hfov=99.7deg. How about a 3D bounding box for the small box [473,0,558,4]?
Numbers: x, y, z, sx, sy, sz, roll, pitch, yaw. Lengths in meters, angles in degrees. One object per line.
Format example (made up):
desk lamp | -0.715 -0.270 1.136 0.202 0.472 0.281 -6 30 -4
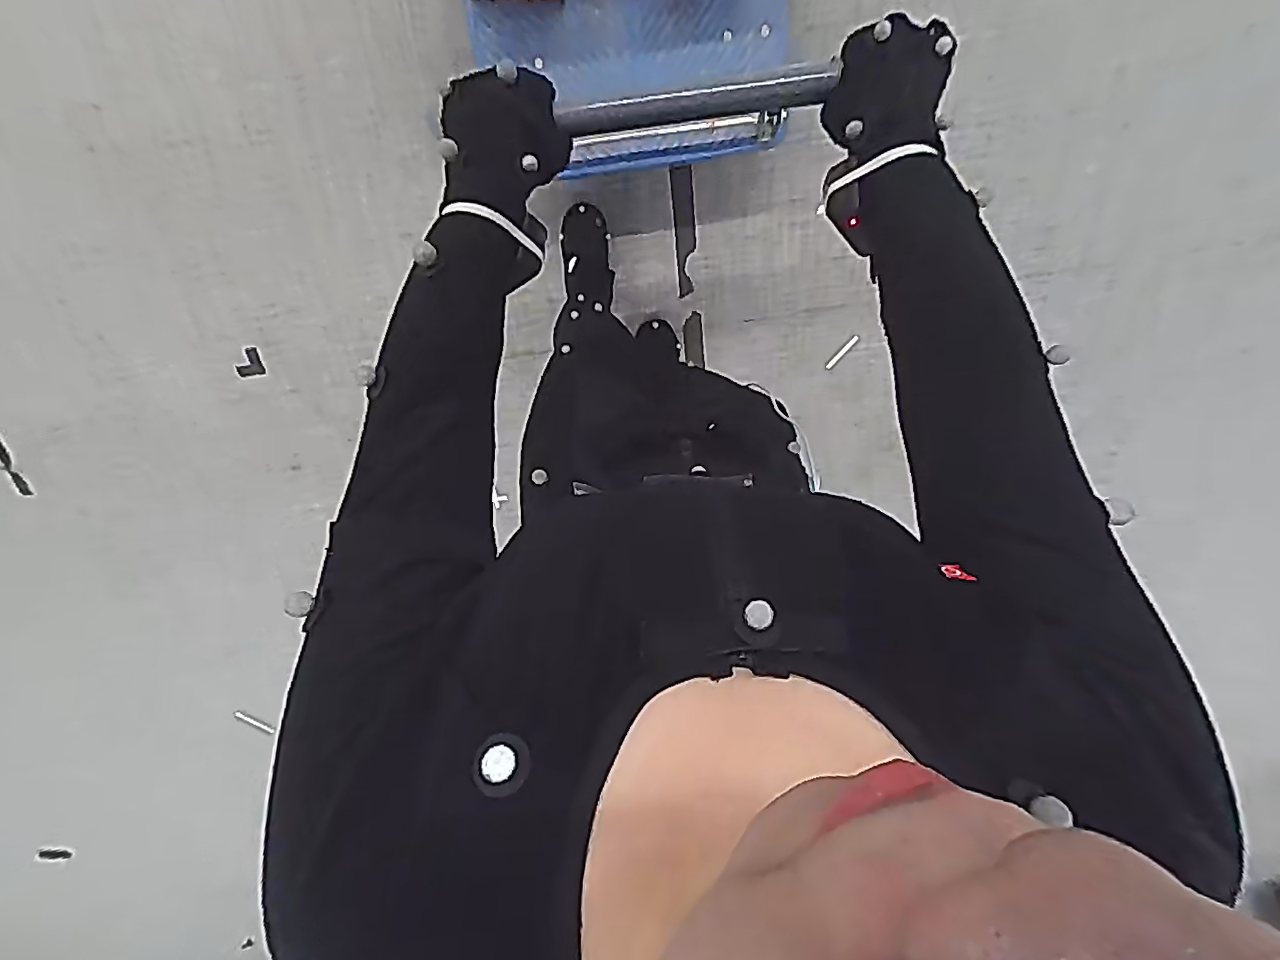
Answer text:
small box | -0.214 -0.888 0.856 0.179 0.176 0.168 -3 115 -4
